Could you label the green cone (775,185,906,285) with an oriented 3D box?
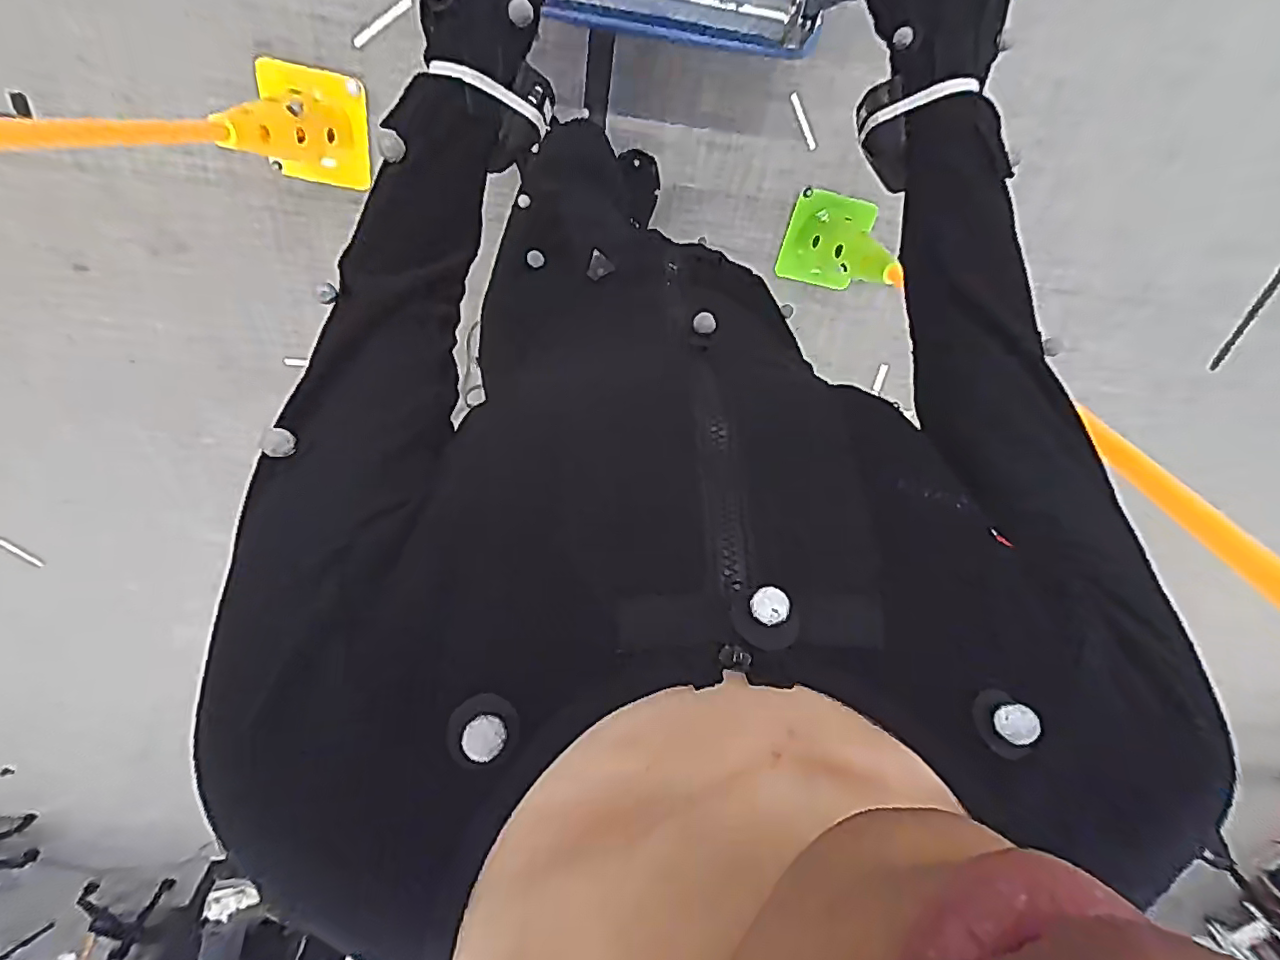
[{"bbox_3d":[0.458,-0.489,1.161,0.202,0.368,0.200,7,123,-11],"label":"green cone"}]
